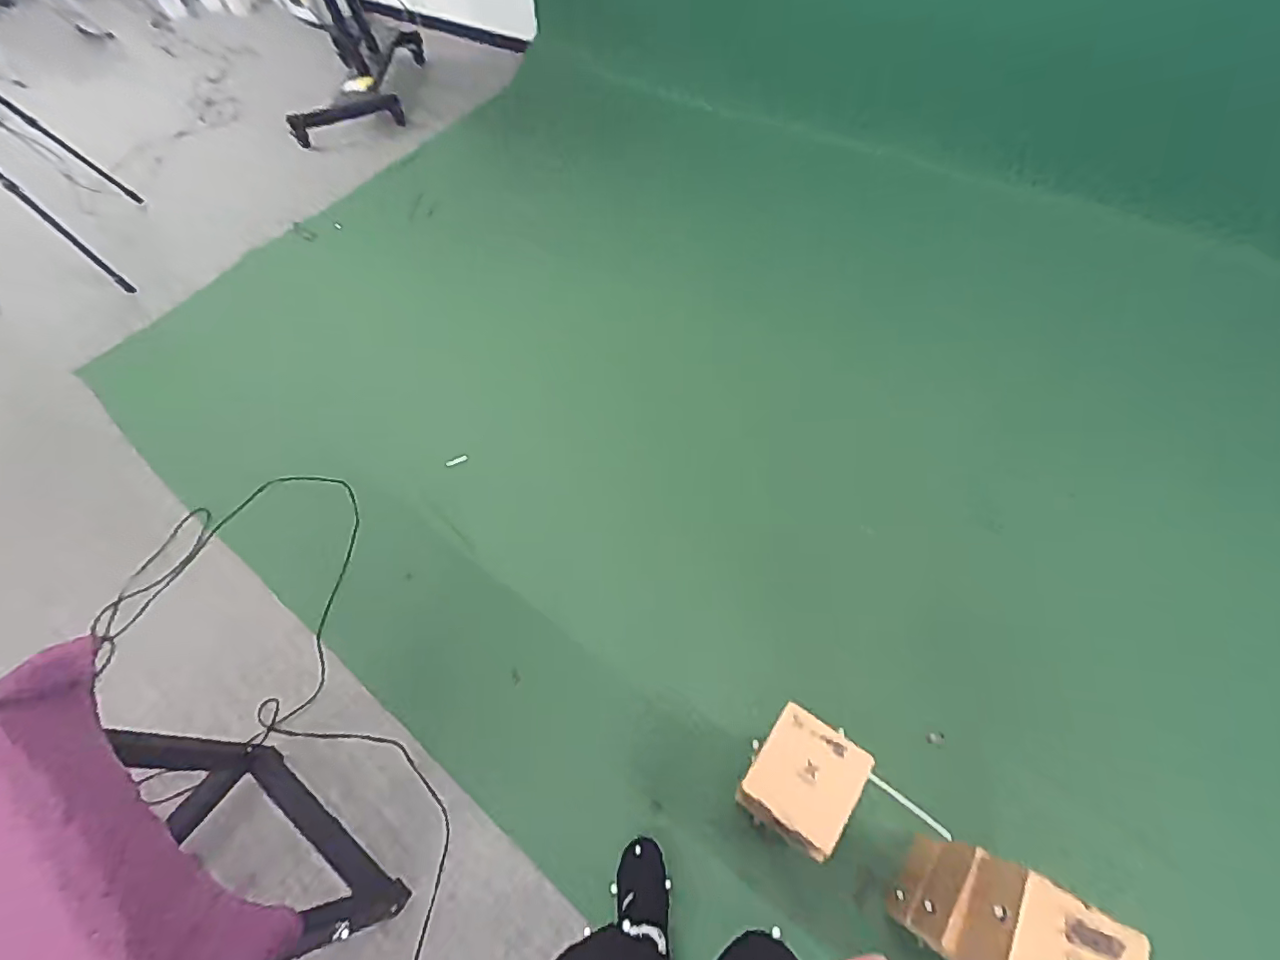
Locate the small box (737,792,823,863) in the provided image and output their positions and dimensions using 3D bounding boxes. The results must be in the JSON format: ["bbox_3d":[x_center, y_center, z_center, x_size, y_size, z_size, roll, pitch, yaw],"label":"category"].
[{"bbox_3d":[0.314,0.646,1.114,0.179,0.176,0.168,30,67,21],"label":"small box"}]

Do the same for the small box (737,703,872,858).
[{"bbox_3d":[0.291,0.543,0.986,0.168,0.176,0.179,31,68,22],"label":"small box"}]

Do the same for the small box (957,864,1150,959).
[{"bbox_3d":[0.626,0.738,0.838,0.168,0.176,0.179,26,68,18],"label":"small box"}]

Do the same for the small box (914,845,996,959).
[{"bbox_3d":[0.629,0.809,0.986,0.168,0.176,0.179,31,69,20],"label":"small box"}]
